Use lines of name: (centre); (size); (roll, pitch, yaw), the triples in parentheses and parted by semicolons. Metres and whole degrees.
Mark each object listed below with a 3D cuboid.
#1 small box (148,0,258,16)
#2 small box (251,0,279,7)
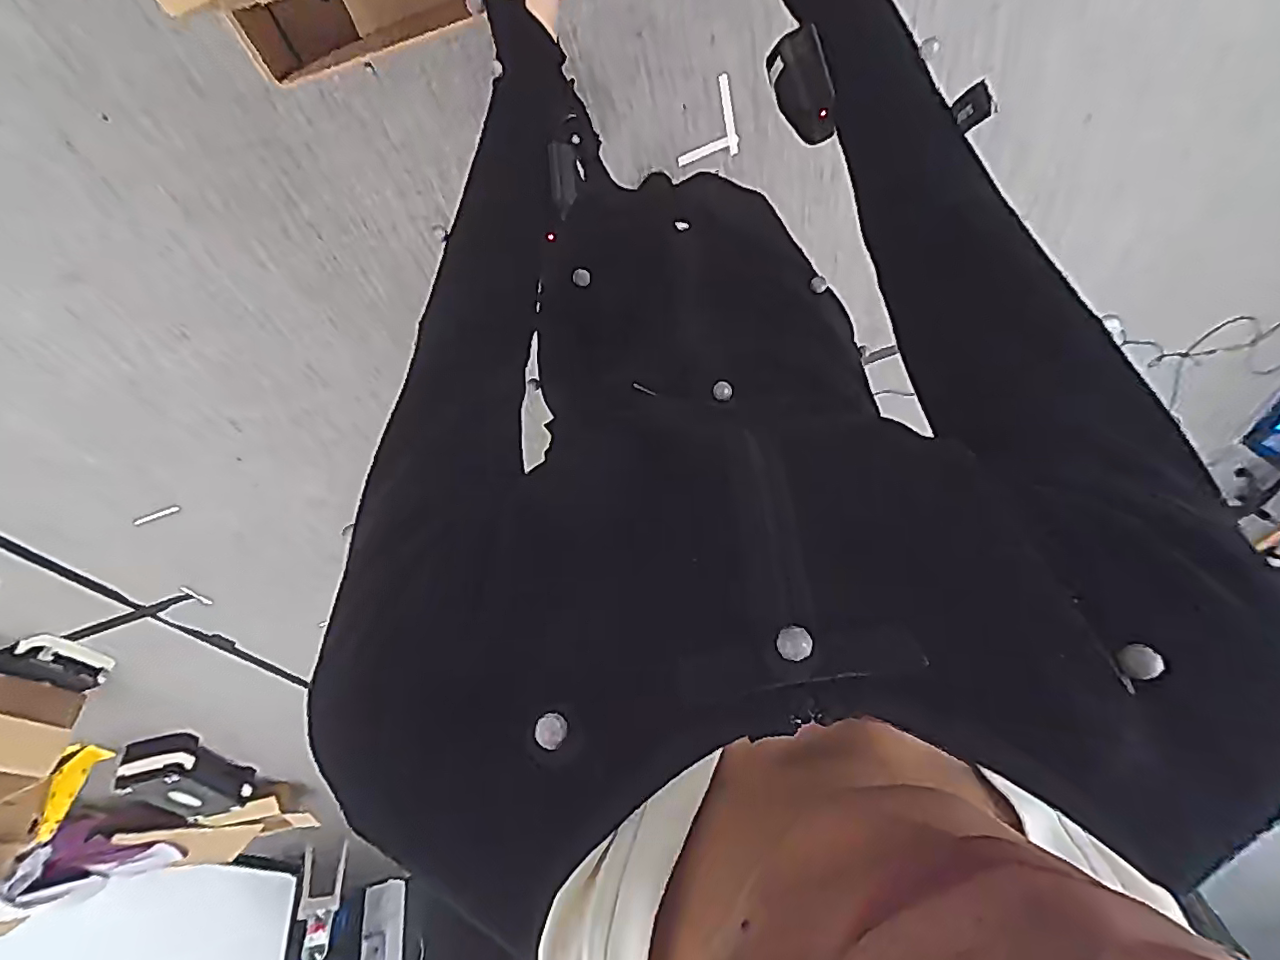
small box: (-0.294, -0.450, 0.355); (0.168, 0.176, 0.179); (-23, 135, 6)
small box: (-0.318, -0.564, 0.474); (0.168, 0.176, 0.179); (-22, 135, 4)
